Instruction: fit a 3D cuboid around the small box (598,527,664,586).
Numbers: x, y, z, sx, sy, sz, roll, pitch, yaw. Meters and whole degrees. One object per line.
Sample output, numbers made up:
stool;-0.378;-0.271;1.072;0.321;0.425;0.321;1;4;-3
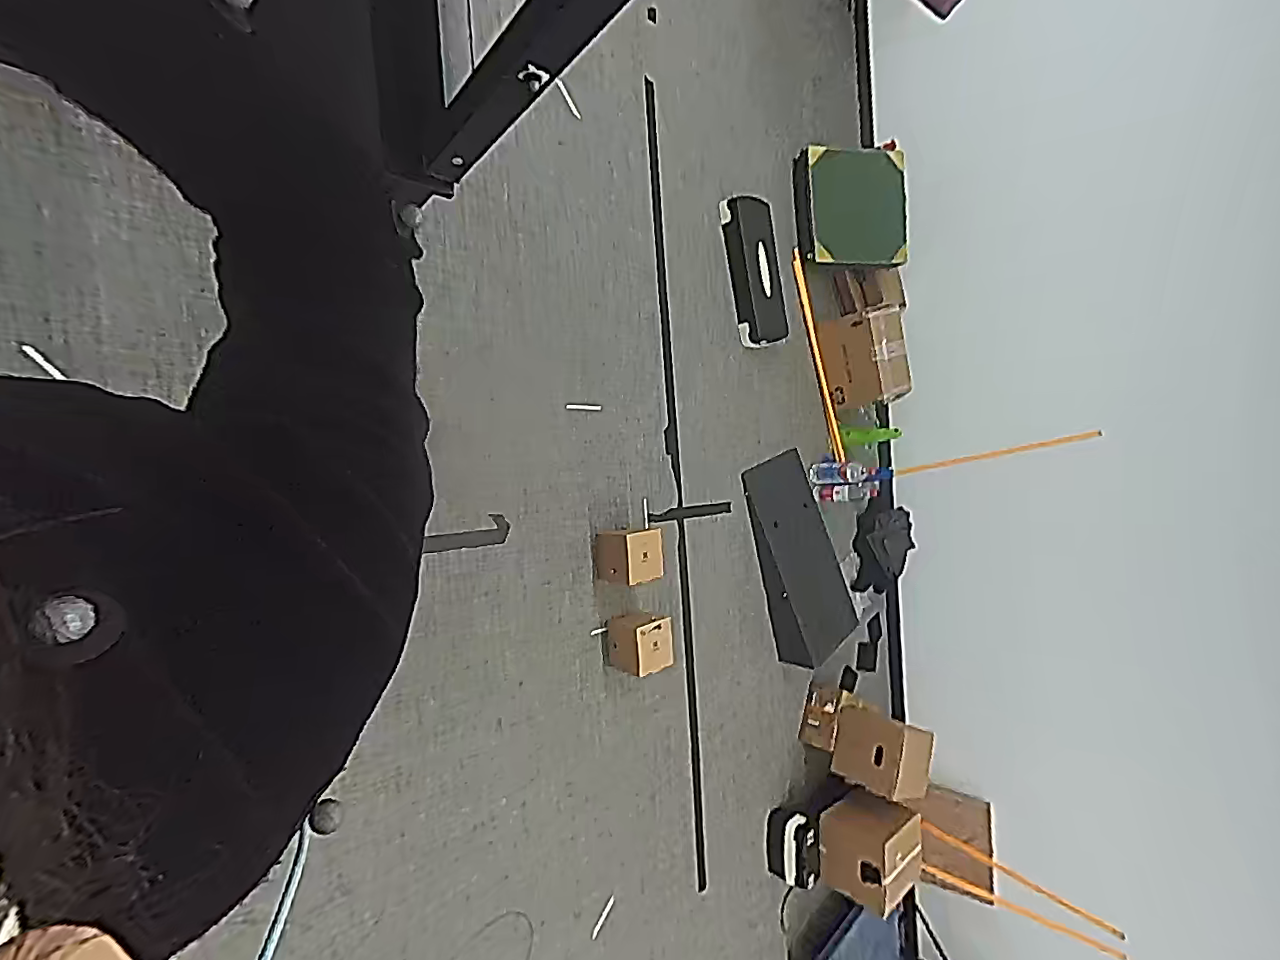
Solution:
small box;-0.032;0.266;1.921;0.168;0.176;0.179;-6;92;-43

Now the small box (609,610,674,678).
small box;0.004;0.584;1.944;0.168;0.176;0.179;-6;93;-43
